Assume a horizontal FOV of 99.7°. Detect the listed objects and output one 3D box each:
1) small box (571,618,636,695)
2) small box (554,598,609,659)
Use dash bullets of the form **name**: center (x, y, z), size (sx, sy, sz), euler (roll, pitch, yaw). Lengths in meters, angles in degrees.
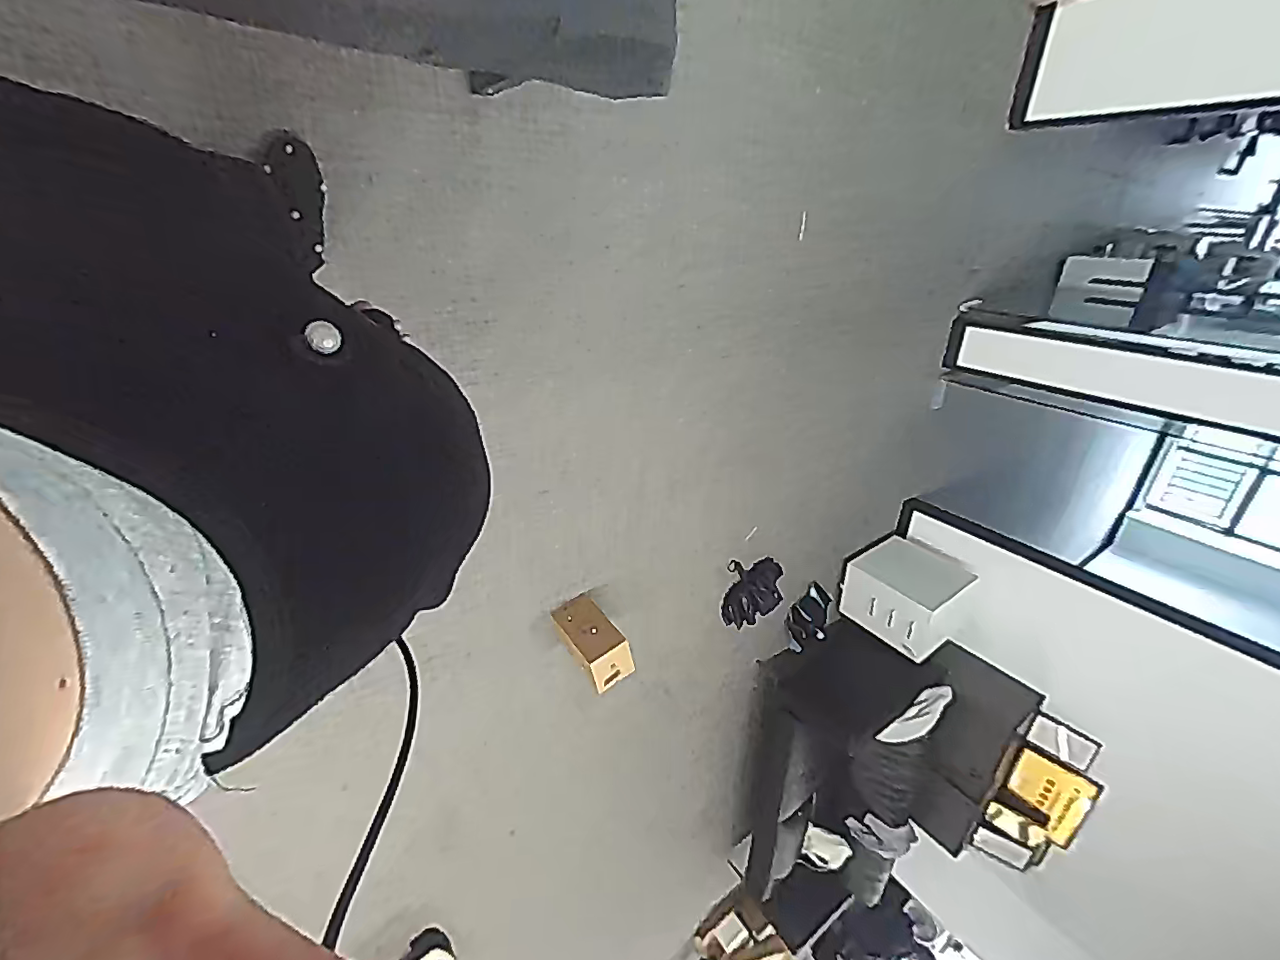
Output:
- **small box**: center (-0.137, 0.659, 2.036), size (0.168, 0.176, 0.179), euler (-28, 126, -24)
- **small box**: center (-0.226, 0.597, 2.161), size (0.168, 0.176, 0.179), euler (-28, 128, -23)
